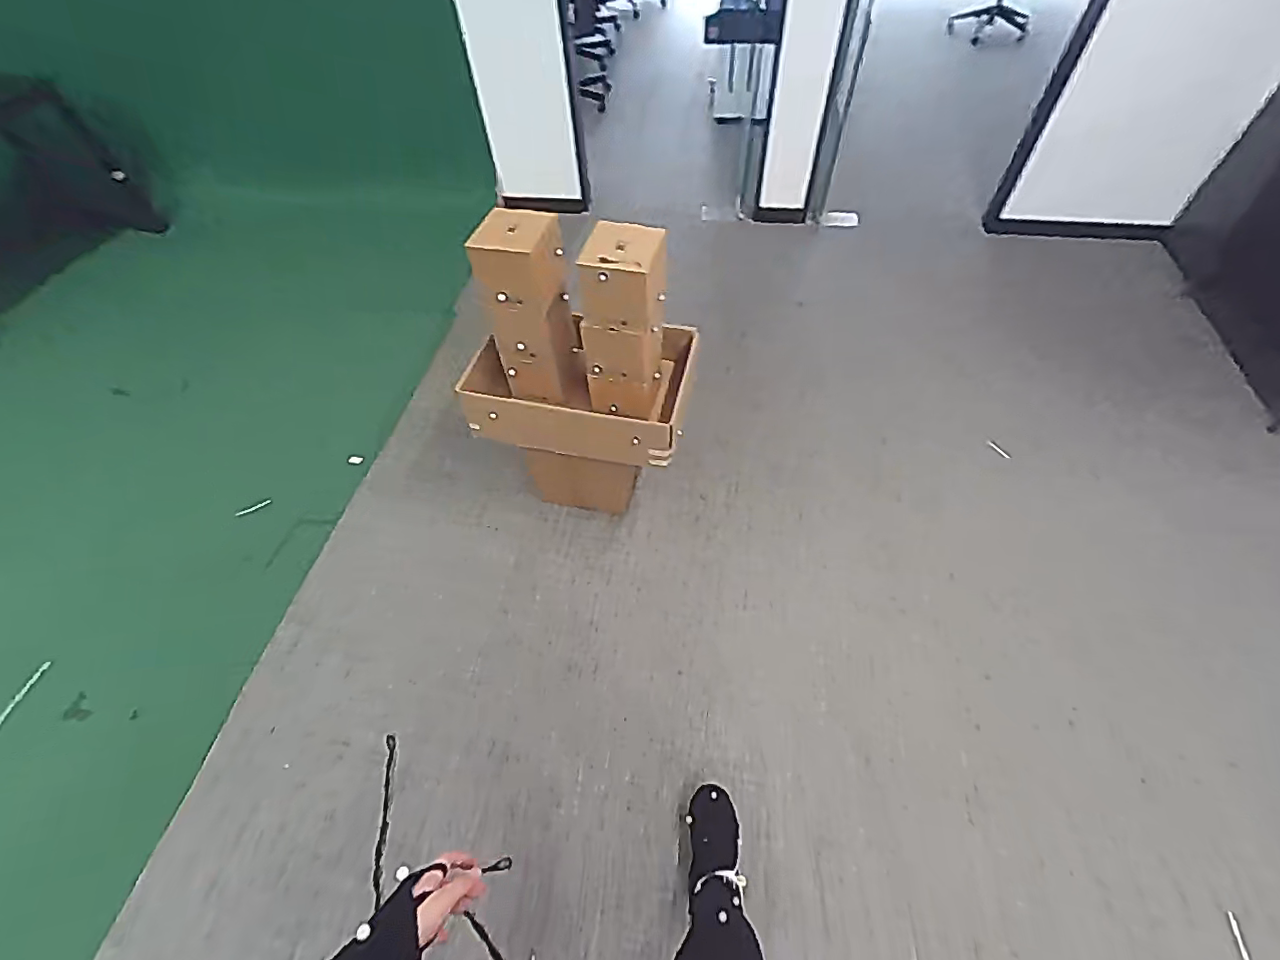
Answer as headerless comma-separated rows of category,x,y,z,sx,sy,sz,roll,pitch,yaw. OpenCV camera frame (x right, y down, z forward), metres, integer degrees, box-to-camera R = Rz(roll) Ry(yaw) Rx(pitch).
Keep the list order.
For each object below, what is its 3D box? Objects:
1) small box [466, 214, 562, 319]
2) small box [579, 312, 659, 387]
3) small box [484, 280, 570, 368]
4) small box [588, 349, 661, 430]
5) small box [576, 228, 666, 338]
small box,-0.301,-0.529,1.340,0.168,0.176,0.179,10,55,11
small box,-0.046,-0.368,1.415,0.168,0.176,0.179,12,55,11
small box,-0.296,-0.433,1.472,0.168,0.176,0.179,10,55,10
small box,-0.040,-0.271,1.548,0.168,0.176,0.179,11,56,11
small box,-0.040,-0.468,1.285,0.168,0.176,0.179,12,55,11
